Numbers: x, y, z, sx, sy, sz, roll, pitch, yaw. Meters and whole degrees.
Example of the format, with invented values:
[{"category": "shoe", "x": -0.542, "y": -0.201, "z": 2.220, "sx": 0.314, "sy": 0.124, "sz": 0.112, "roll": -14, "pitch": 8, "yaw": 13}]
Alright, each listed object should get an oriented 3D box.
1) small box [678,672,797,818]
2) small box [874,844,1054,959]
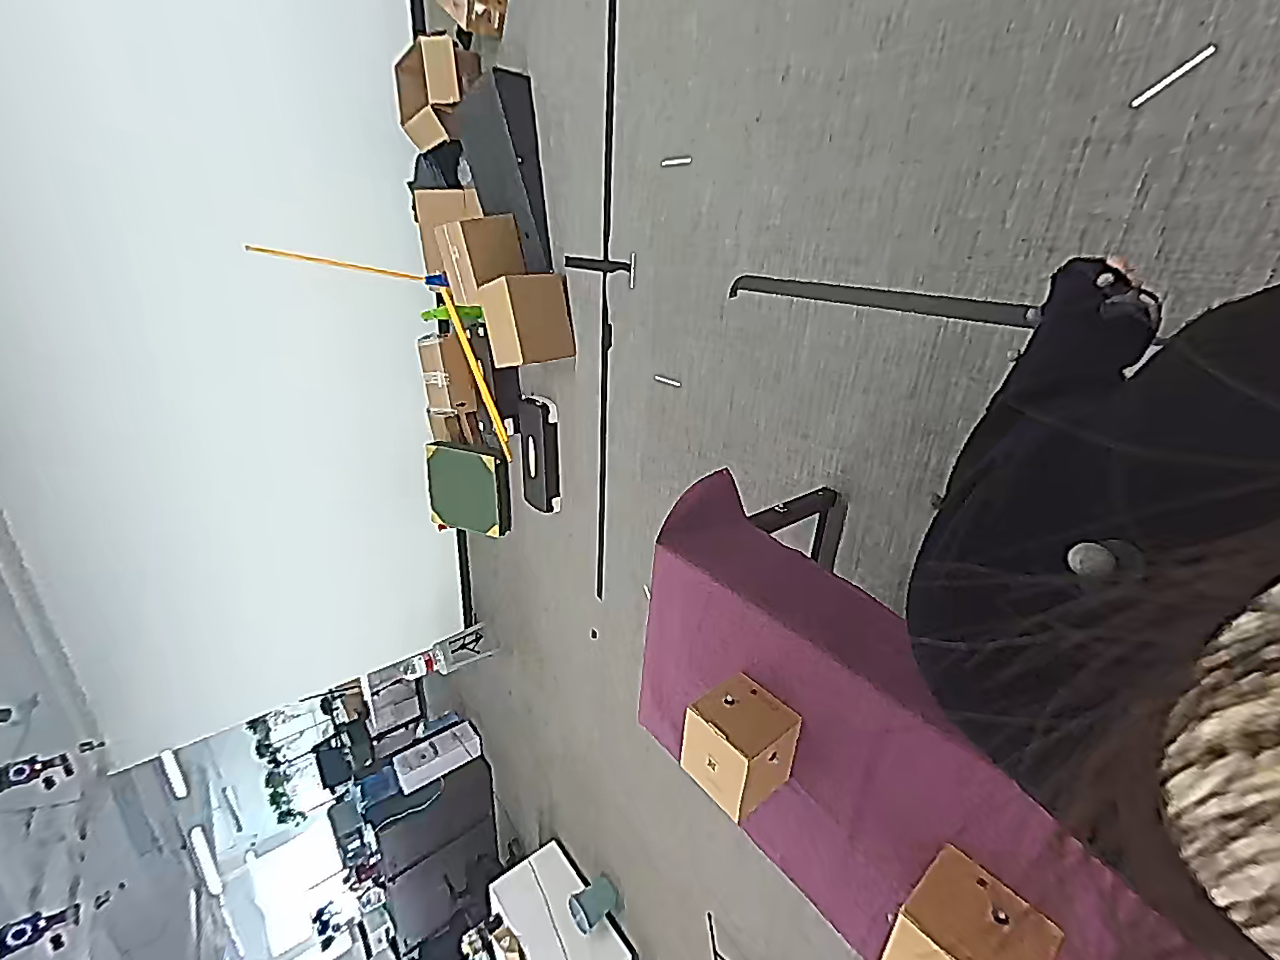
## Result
[{"category": "small box", "x": 0.202, "y": 0.536, "z": 1.118, "sx": 0.168, "sy": 0.176, "sz": 0.179, "roll": 29, "pitch": 124, "yaw": 44}, {"category": "small box", "x": 0.486, "y": 0.713, "z": 0.818, "sx": 0.168, "sy": 0.176, "sz": 0.179, "roll": 28, "pitch": 122, "yaw": 45}]
